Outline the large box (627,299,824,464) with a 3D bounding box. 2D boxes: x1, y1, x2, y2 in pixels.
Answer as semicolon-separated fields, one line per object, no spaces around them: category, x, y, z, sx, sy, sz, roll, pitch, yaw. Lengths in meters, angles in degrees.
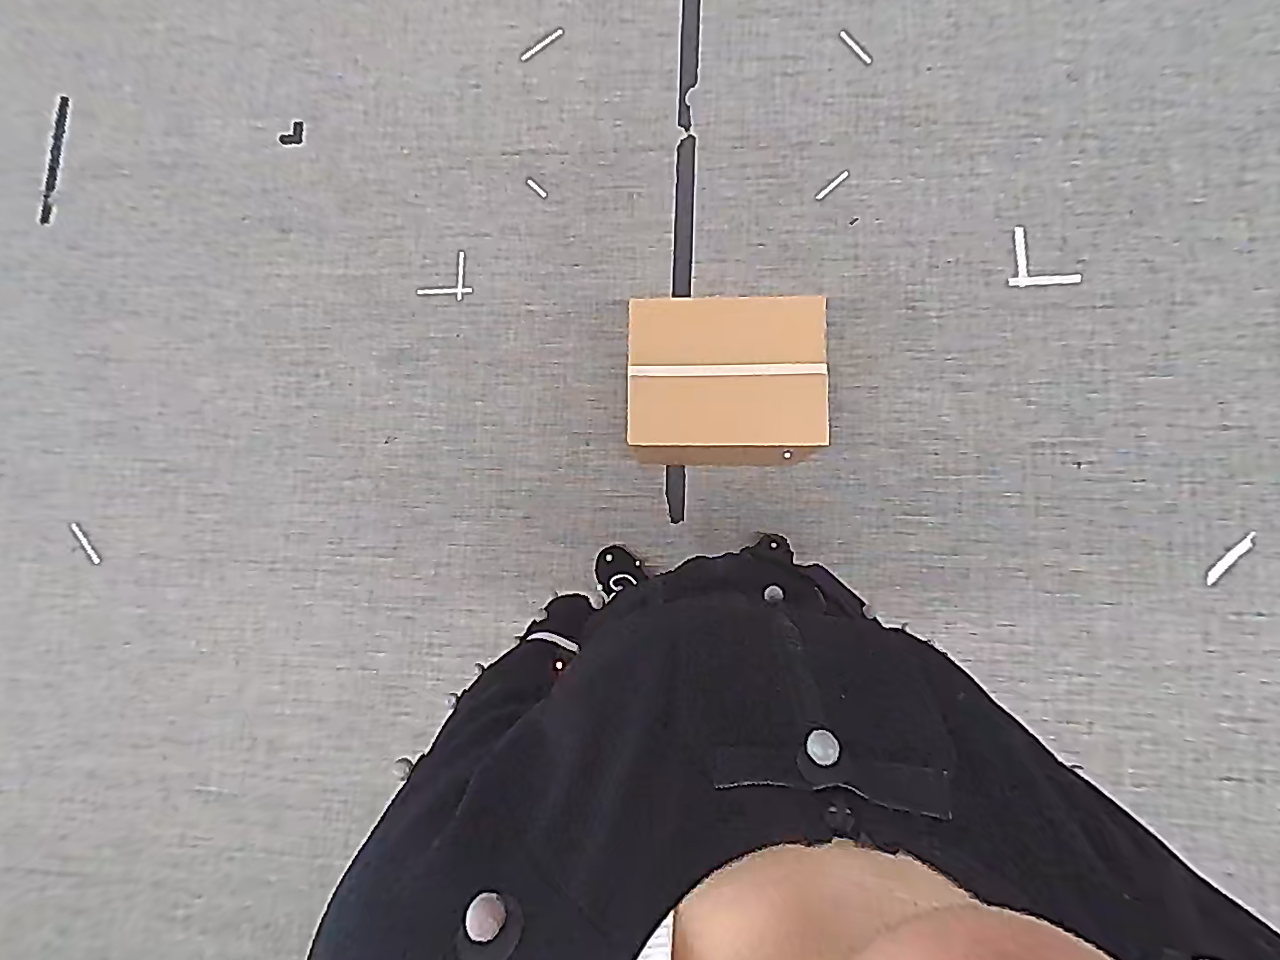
large box;0.183;-0.206;1.260;0.408;0.320;0.320;0;84;4
